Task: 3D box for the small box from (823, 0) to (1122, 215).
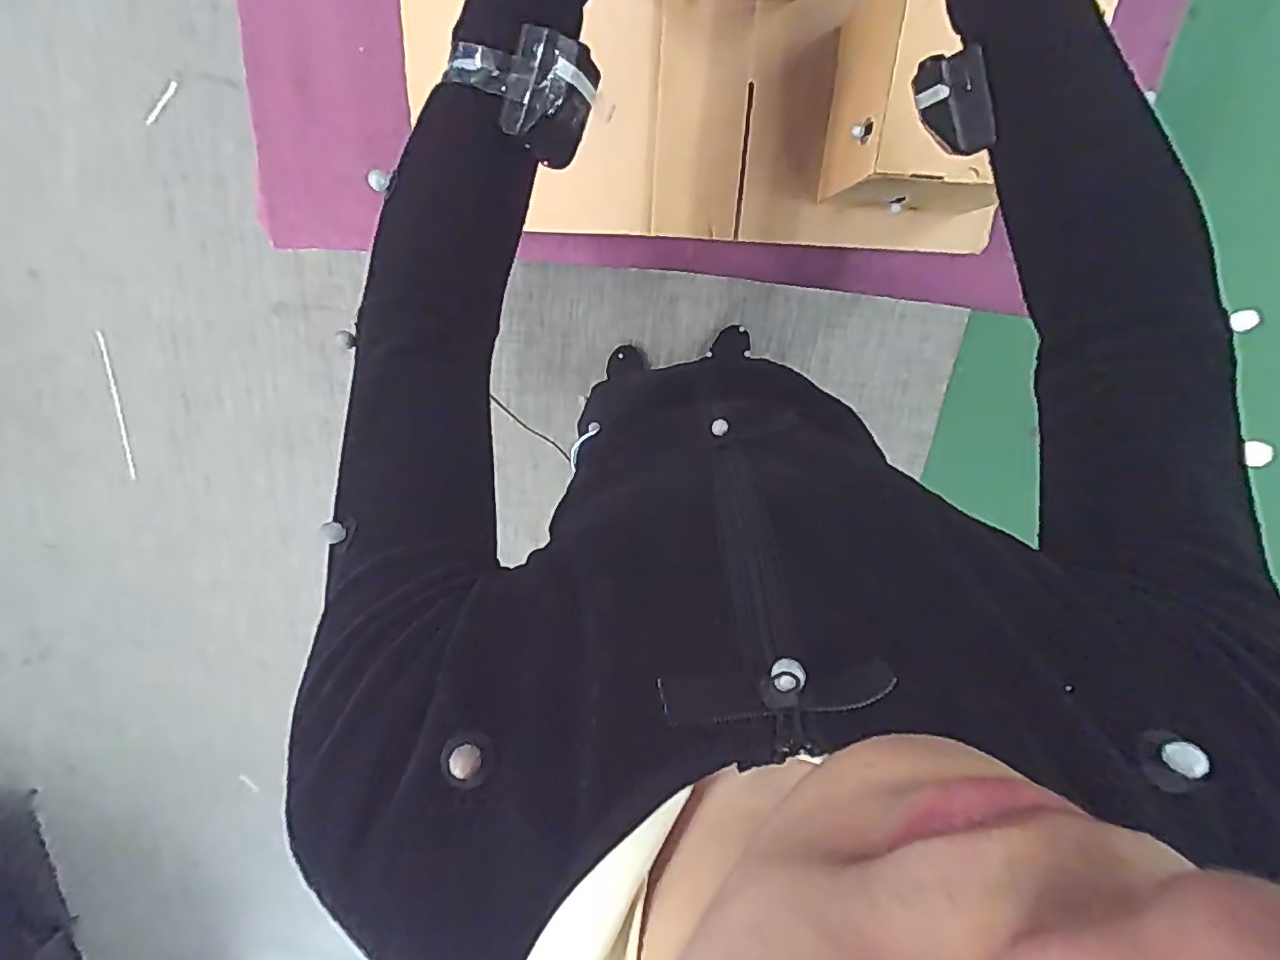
[{"bbox_3d":[0.285,-0.358,0.504,0.168,0.176,0.179,3,110,0],"label":"small box"}]
